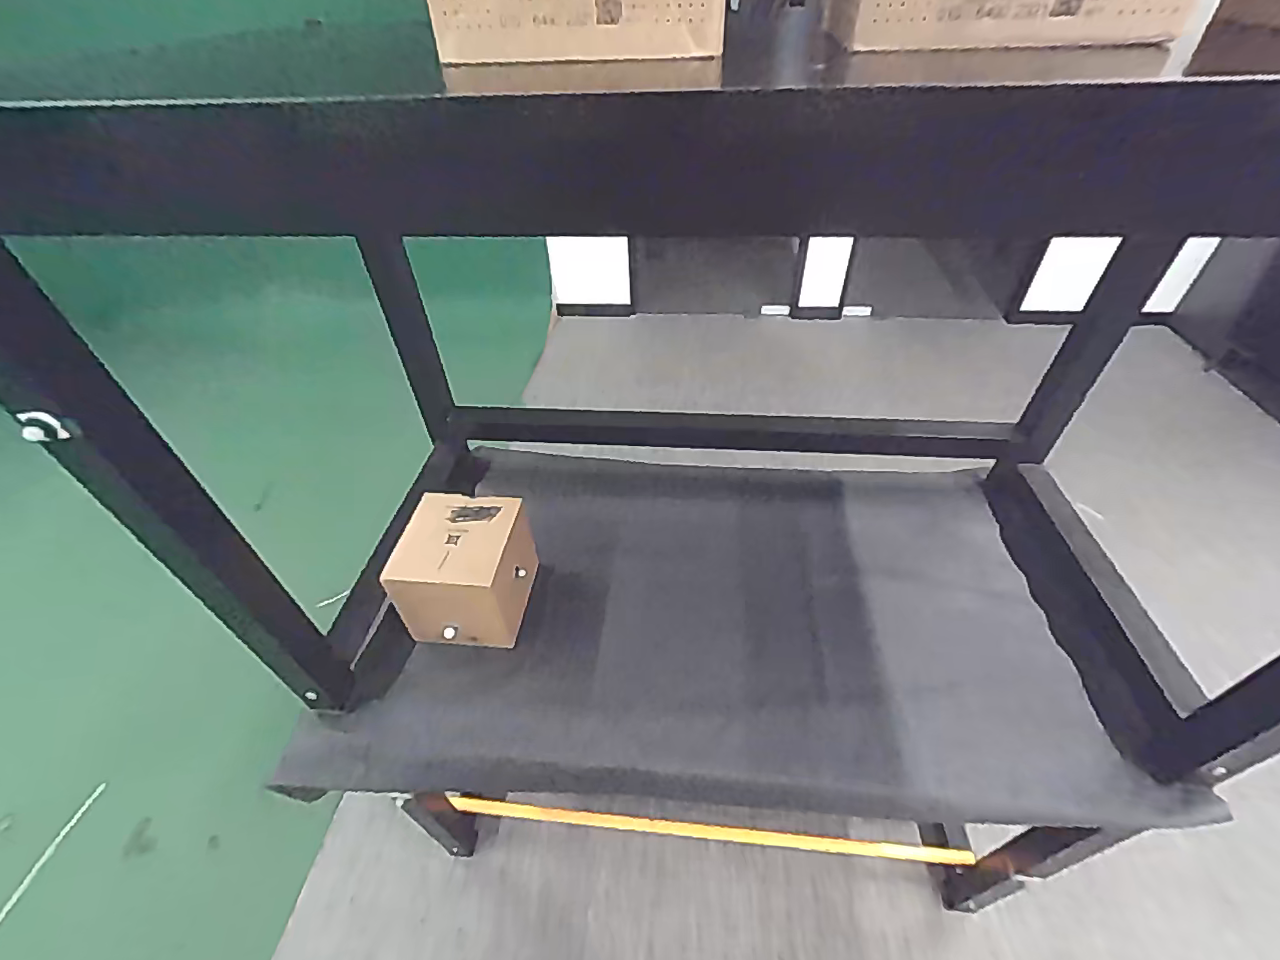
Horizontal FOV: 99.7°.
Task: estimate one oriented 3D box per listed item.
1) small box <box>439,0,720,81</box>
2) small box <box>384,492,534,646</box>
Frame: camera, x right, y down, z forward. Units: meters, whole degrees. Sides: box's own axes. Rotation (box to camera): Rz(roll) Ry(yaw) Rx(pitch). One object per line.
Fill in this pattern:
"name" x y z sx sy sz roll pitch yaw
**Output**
"small box" -0.031 -0.358 0.333 0.168 0.176 0.179 3 43 5
"small box" -0.275 0.142 0.874 0.168 0.176 0.179 3 43 5
